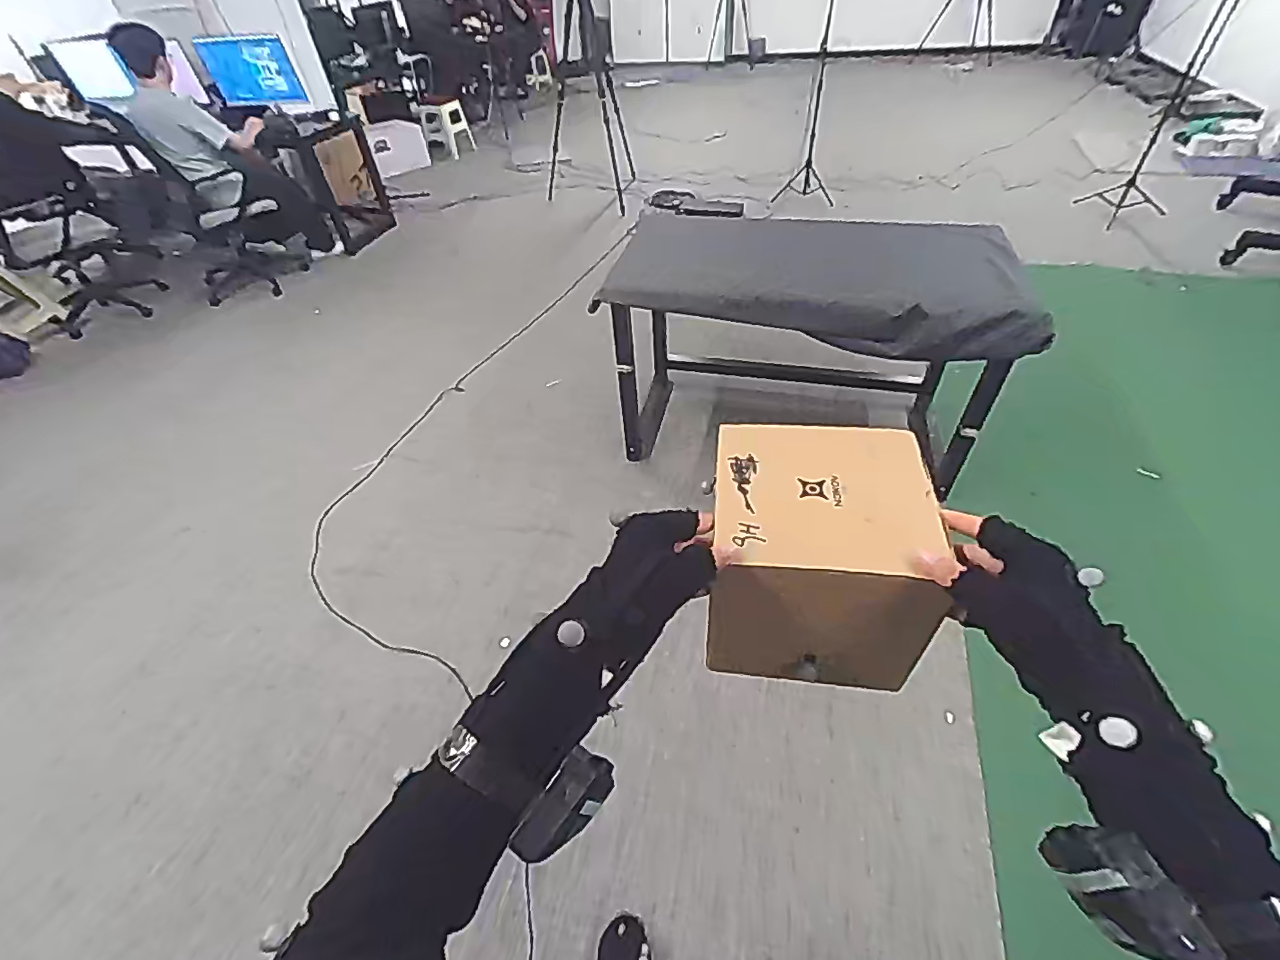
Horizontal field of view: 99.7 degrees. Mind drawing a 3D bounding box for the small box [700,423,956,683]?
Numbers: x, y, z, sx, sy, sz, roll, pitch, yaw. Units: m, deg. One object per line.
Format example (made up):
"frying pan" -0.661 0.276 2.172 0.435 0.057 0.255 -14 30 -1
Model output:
"small box" 0.153 0.069 0.502 0.179 0.176 0.168 5 44 8
